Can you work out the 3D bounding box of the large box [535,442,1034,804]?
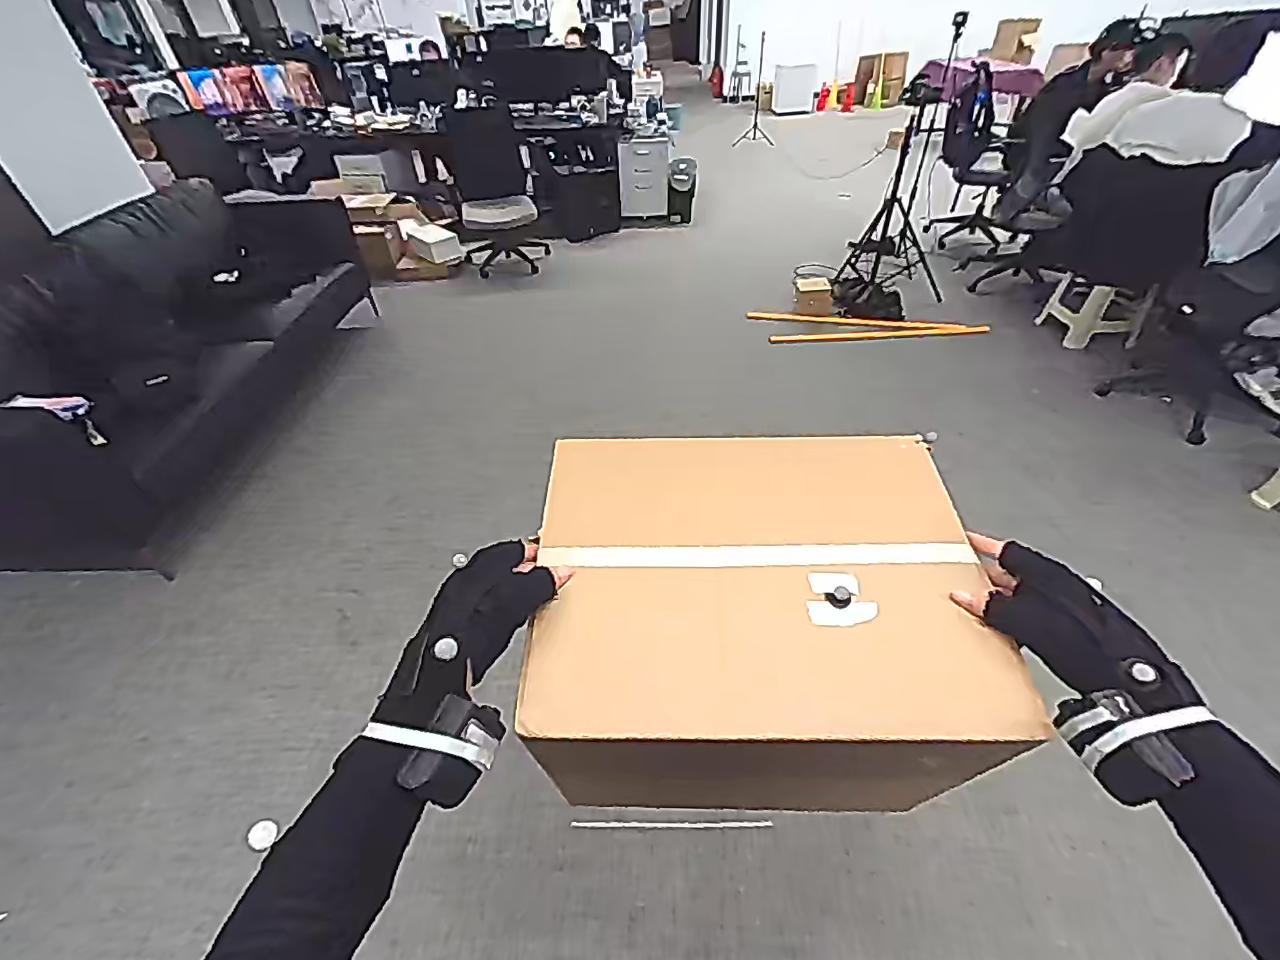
[{"bbox_3d":[0.112,0.172,0.631,0.408,0.320,0.320,0,51,1],"label":"large box"}]
